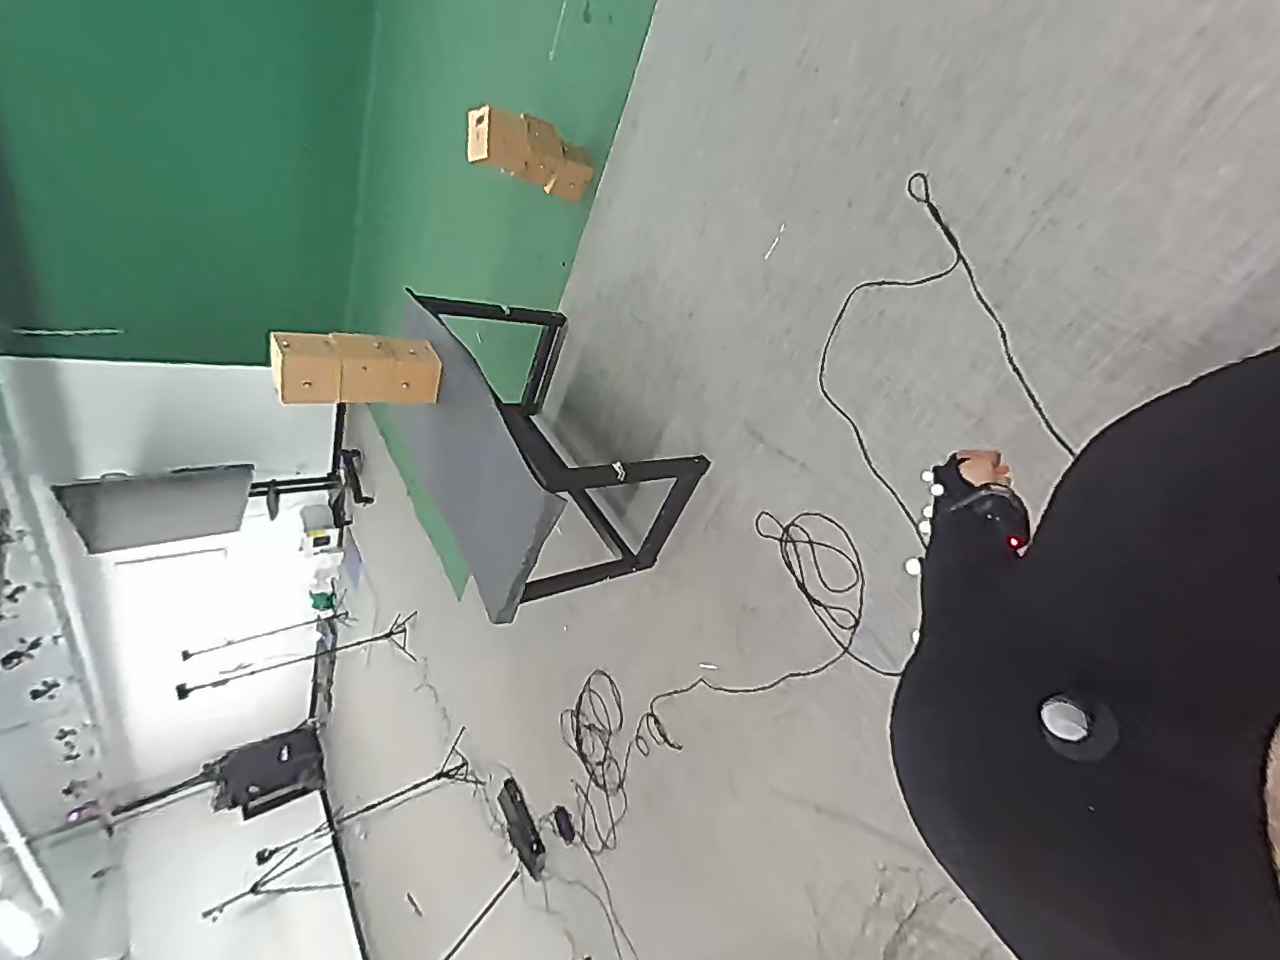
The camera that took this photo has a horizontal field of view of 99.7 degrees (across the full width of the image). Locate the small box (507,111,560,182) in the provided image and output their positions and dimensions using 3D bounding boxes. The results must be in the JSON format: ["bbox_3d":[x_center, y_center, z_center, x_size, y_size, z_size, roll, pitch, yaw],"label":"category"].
[{"bbox_3d":[-0.451,-1.366,2.235,0.168,0.176,0.179,-18,81,46],"label":"small box"}]

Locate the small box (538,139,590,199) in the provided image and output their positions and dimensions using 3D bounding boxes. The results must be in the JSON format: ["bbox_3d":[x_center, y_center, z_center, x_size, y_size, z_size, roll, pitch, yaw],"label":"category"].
[{"bbox_3d":[-0.346,-1.363,2.363,0.168,0.176,0.179,-46,62,41],"label":"small box"}]

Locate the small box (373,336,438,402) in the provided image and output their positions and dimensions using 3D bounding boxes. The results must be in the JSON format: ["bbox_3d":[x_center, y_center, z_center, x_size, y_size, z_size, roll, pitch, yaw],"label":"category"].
[{"bbox_3d":[-0.852,-0.405,1.973,0.168,0.176,0.179,49,130,32],"label":"small box"}]

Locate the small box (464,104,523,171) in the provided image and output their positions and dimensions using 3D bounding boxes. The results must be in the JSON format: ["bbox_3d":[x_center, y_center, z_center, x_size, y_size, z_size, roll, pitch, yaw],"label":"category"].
[{"bbox_3d":[-0.575,-1.344,2.129,0.168,0.176,0.179,24,114,42],"label":"small box"}]

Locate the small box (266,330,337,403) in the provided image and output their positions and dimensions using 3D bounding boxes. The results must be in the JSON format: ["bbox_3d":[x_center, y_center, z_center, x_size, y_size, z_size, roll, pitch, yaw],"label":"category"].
[{"bbox_3d":[-1.096,-0.367,1.756,0.168,0.176,0.179,46,128,33],"label":"small box"}]
